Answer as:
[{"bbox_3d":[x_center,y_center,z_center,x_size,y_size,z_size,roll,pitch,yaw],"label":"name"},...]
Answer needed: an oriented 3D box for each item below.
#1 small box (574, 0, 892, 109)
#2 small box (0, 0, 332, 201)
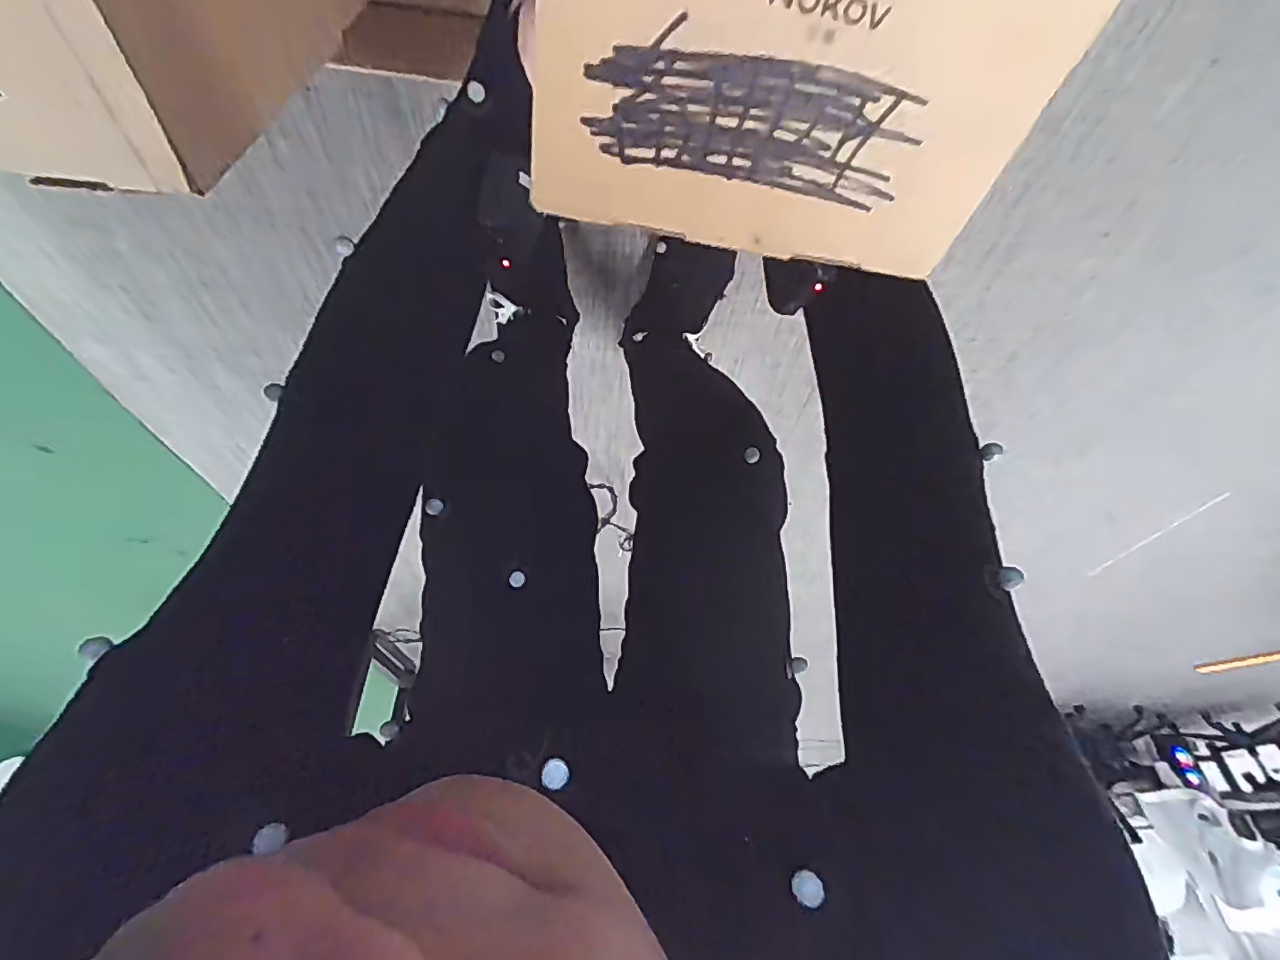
[{"bbox_3d":[0.052,-0.340,0.287,0.168,0.176,0.179,3,146,-7],"label":"small box"},{"bbox_3d":[-0.223,-0.219,0.161,0.168,0.176,0.179,3,145,-6],"label":"small box"}]
